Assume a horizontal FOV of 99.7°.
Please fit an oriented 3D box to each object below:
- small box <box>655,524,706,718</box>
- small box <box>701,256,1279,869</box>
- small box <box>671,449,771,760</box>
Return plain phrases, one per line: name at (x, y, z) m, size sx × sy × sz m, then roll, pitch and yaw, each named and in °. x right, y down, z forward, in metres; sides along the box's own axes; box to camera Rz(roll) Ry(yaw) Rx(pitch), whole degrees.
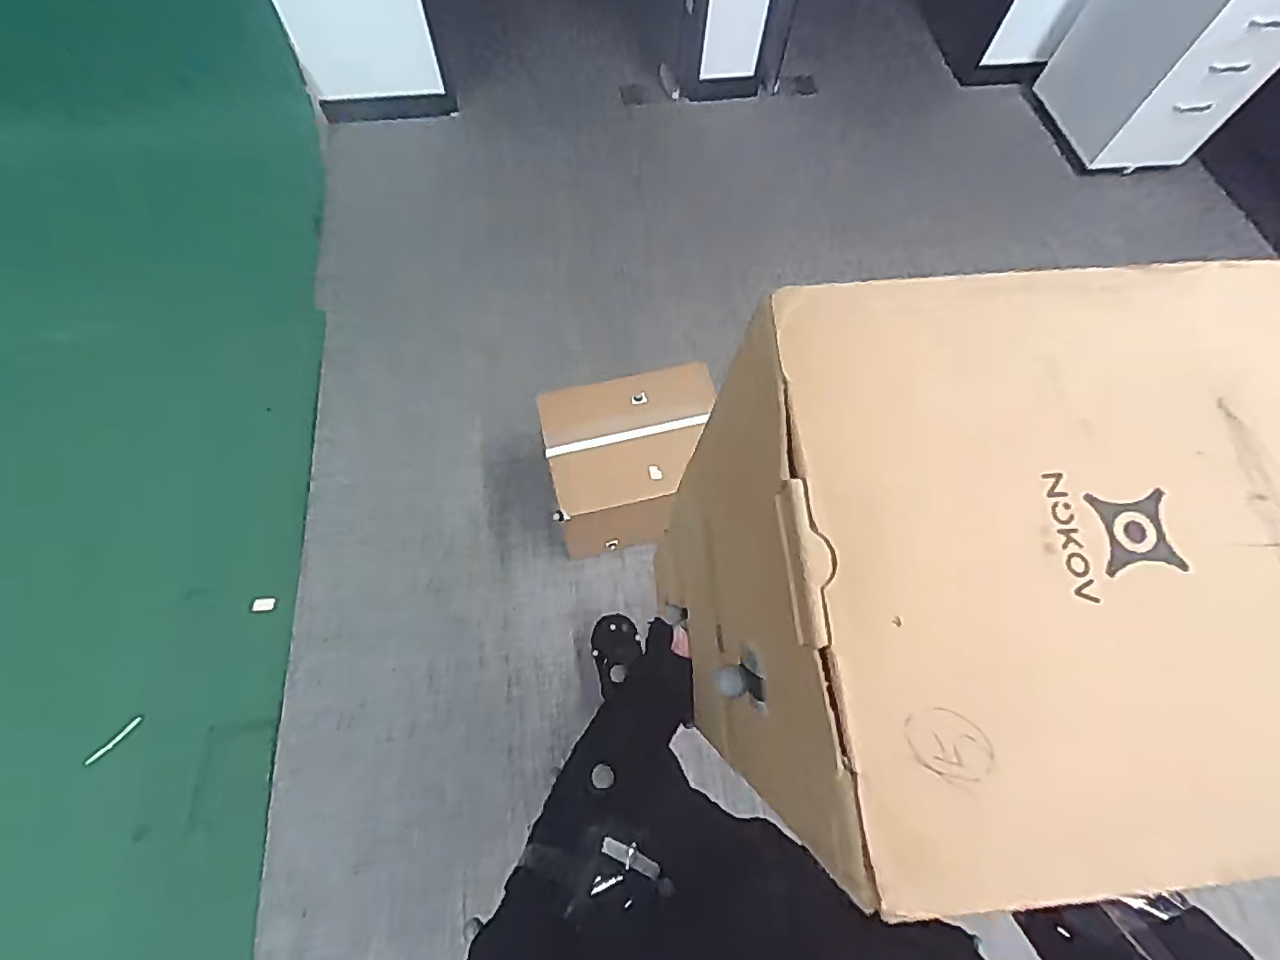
small box at (0.112, 0.132, 0.541) m, size 0.179 × 0.176 × 0.168 m, roll -5°, pitch 73°, yaw -3°
small box at (0.127, 0.030, 0.233) m, size 0.179 × 0.176 × 0.168 m, roll -5°, pitch 76°, yaw -5°
small box at (0.117, 0.078, 0.388) m, size 0.168 × 0.176 × 0.179 m, roll -6°, pitch 75°, yaw -4°
